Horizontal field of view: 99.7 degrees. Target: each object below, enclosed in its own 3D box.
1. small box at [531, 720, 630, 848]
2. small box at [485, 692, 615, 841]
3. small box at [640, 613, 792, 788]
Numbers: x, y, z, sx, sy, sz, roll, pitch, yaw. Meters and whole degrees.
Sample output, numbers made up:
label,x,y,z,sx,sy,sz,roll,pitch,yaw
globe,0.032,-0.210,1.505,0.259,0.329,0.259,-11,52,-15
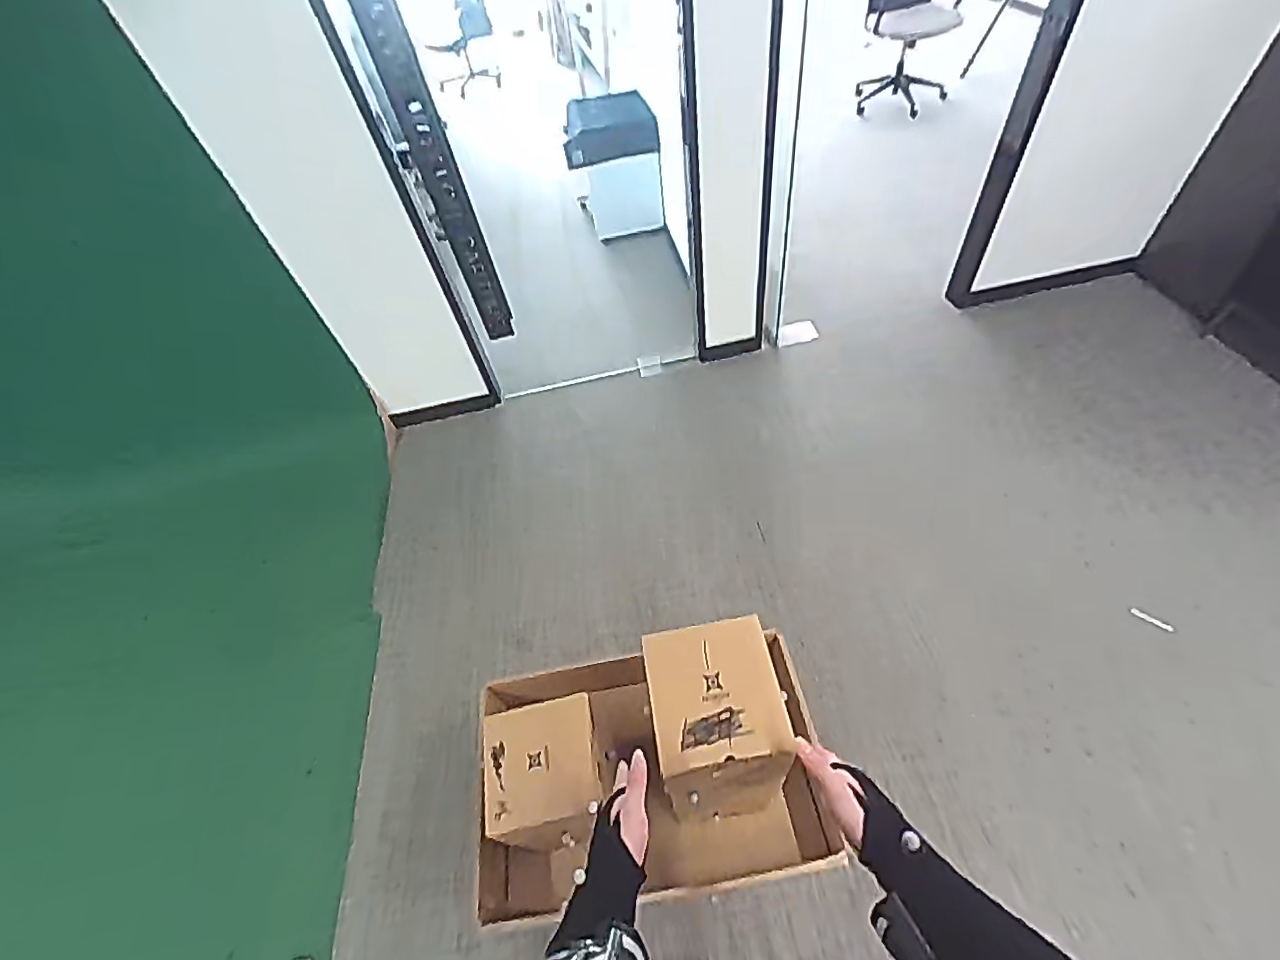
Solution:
label,x,y,z,sx,sy,sz,roll,pitch,yaw
small box,-0.122,0.566,1.002,0.179,0.176,0.168,-10,51,-2
small box,-0.139,0.466,0.874,0.179,0.176,0.168,-12,51,-2
small box,0.100,0.311,0.748,0.168,0.176,0.179,-10,50,0
